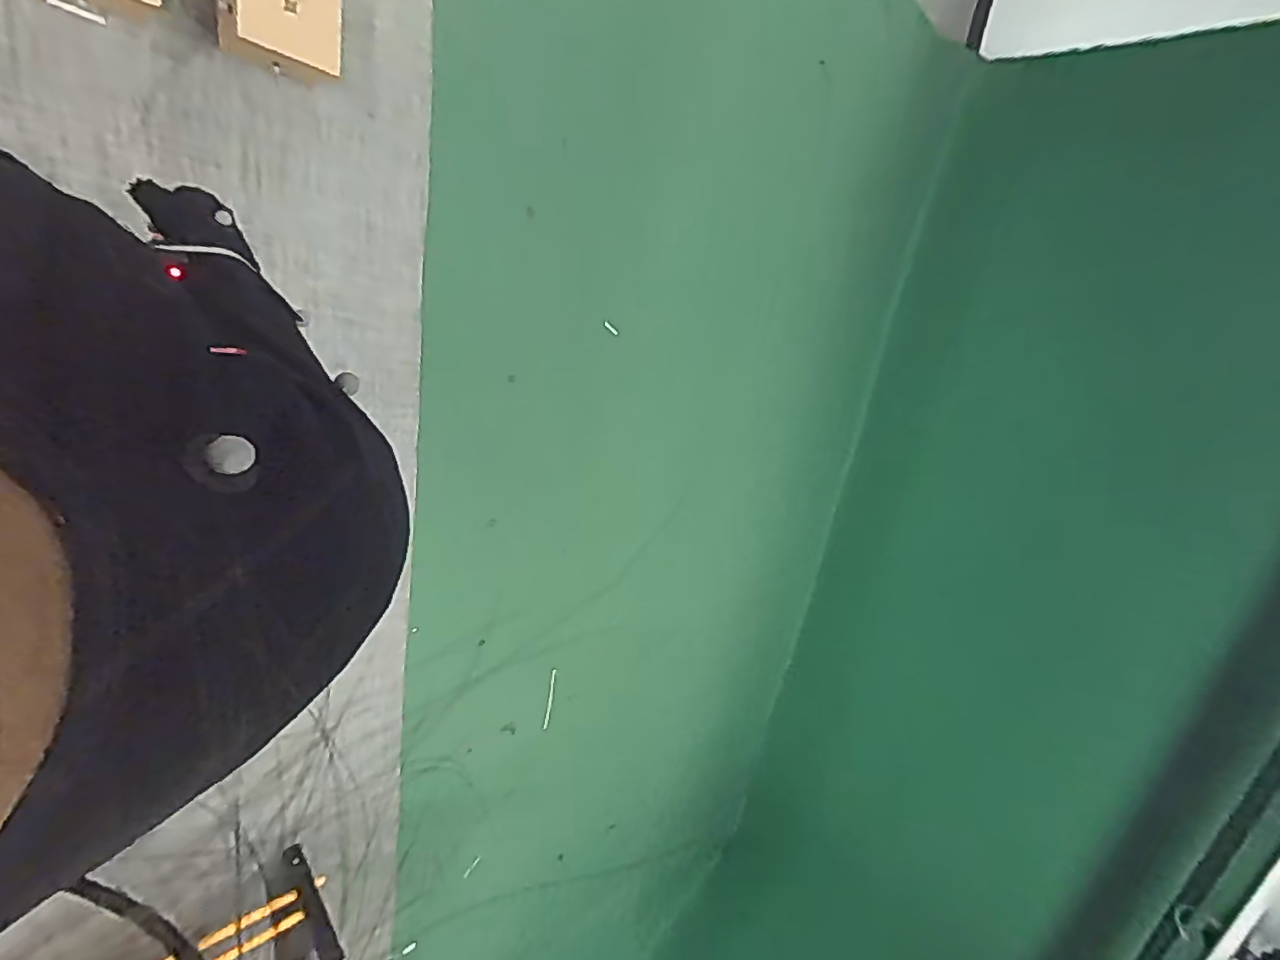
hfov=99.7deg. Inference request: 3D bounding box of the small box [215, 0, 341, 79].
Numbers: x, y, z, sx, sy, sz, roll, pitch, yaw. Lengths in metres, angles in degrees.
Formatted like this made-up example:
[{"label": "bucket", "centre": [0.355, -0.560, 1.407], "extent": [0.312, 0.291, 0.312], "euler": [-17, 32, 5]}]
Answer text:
[{"label": "small box", "centre": [-0.675, -0.885, 1.008], "extent": [0.168, 0.176, 0.179], "euler": [-8, 115, -46]}]
